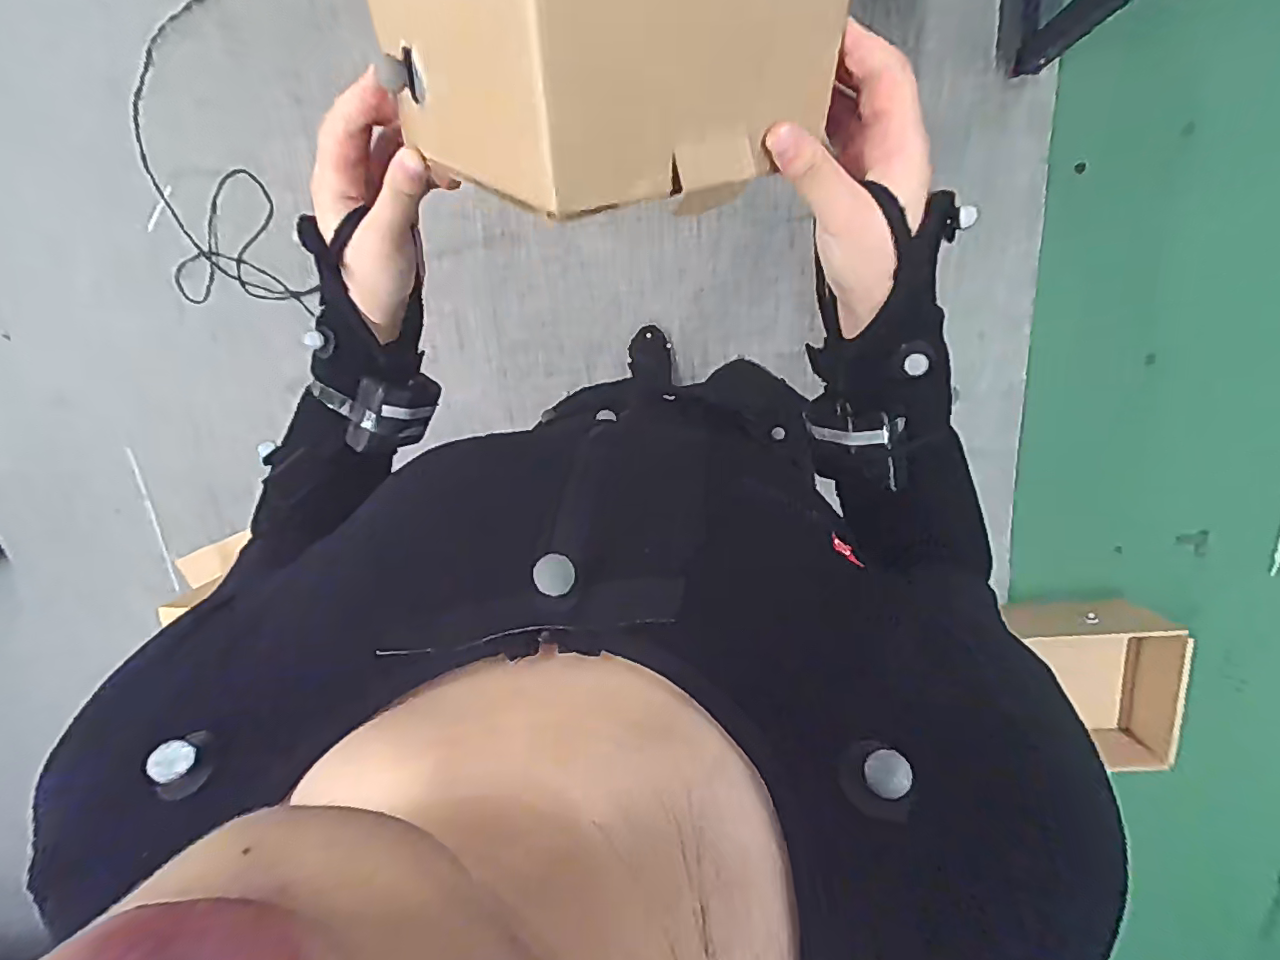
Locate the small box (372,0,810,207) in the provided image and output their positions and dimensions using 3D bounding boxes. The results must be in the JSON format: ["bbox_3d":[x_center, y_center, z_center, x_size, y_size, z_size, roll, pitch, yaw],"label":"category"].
[{"bbox_3d":[-0.026,-0.251,0.258,0.168,0.179,0.176,-27,137,-26],"label":"small box"}]
